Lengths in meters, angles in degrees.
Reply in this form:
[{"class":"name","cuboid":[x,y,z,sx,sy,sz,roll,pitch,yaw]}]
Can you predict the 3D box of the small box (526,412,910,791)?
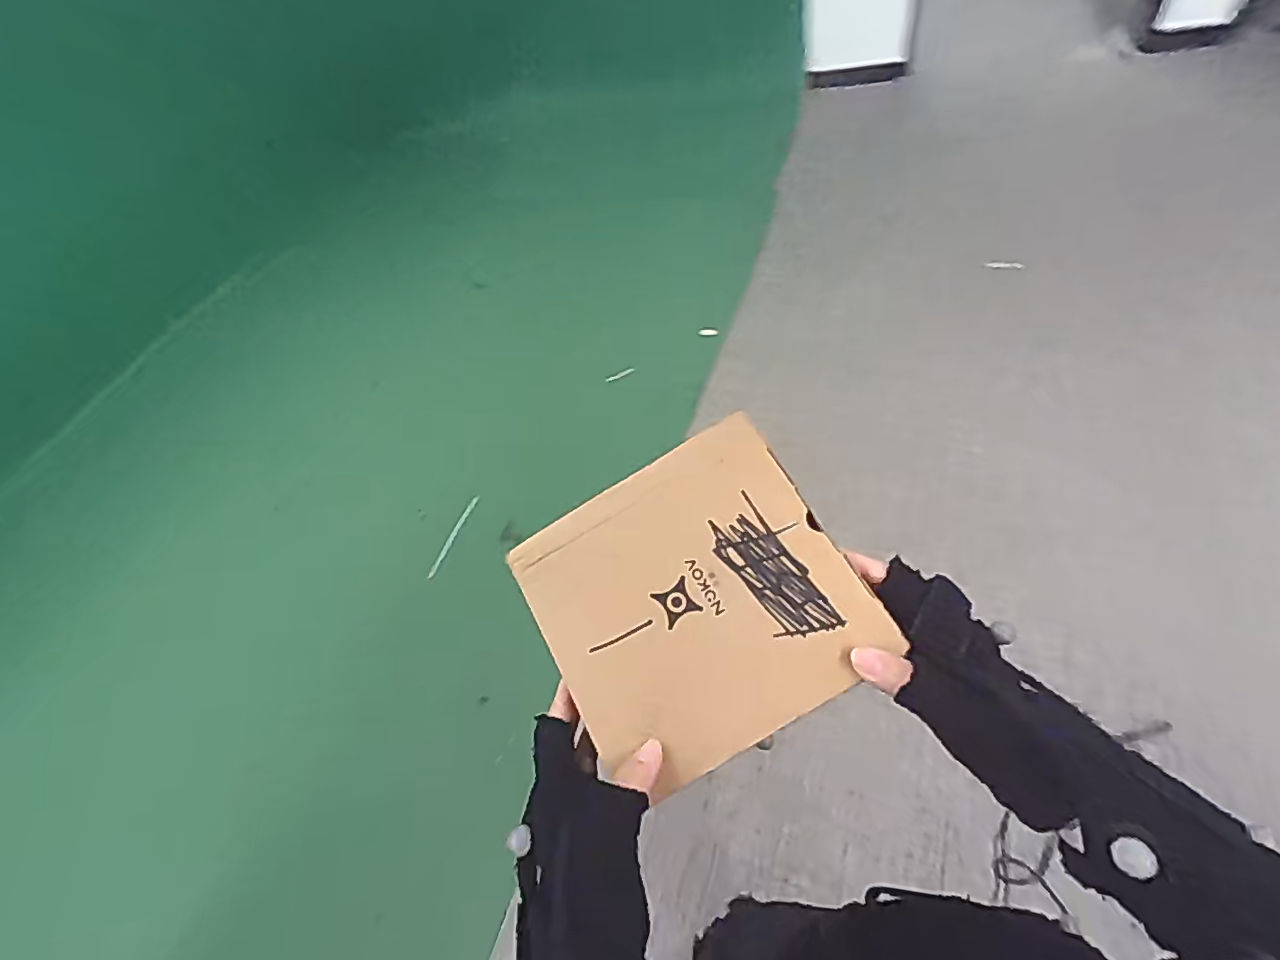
[{"class":"small box","cuboid":[0.050,0.084,0.394,0.179,0.176,0.168,-30,70,1]}]
